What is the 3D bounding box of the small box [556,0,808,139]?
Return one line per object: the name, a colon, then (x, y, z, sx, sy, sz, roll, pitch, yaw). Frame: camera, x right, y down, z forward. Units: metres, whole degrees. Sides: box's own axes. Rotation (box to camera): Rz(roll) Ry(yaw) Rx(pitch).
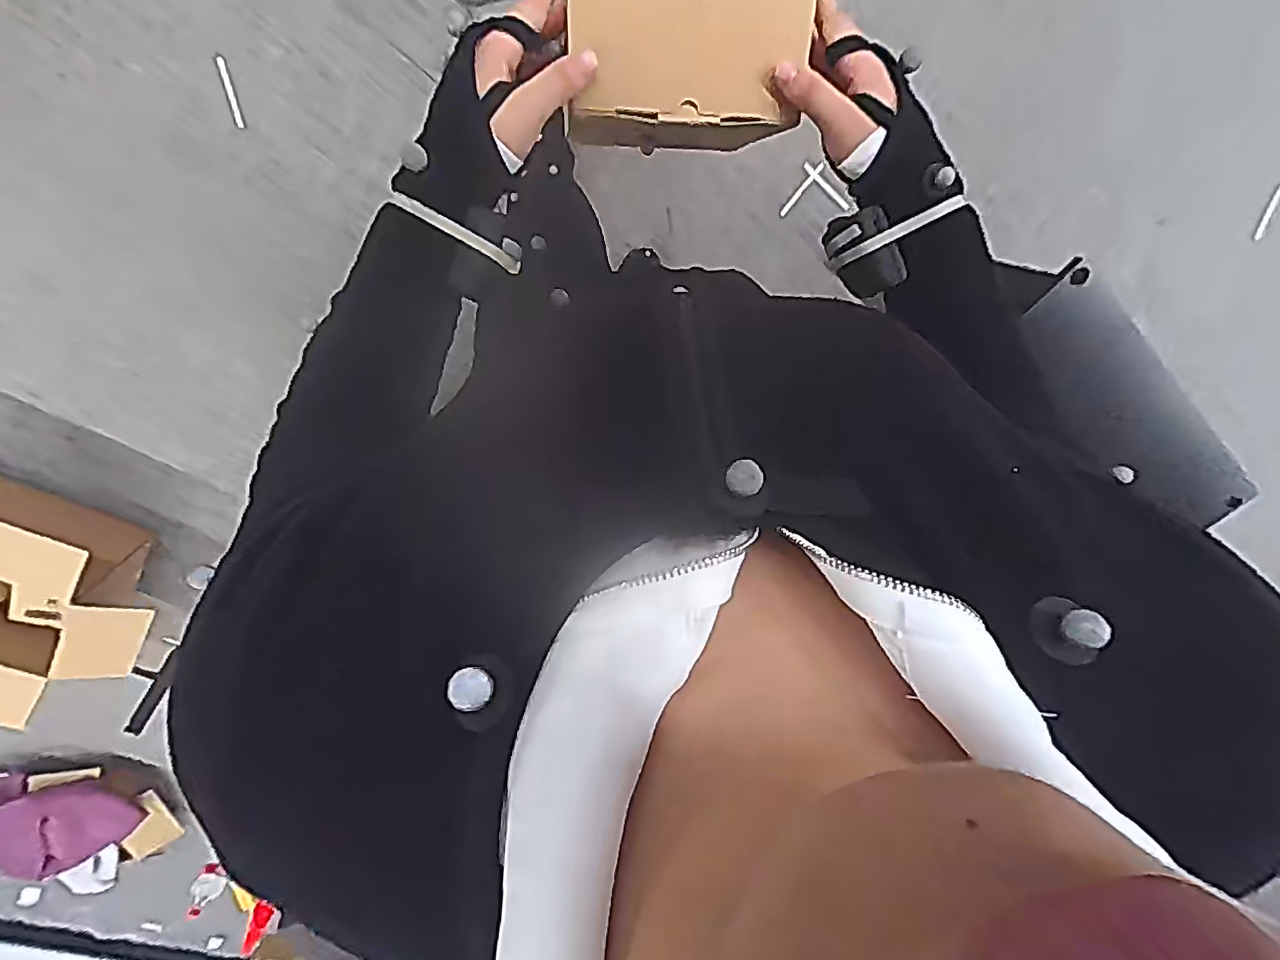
small box: (0.021, -0.373, 0.406, 0.168, 0.176, 0.179, -2, 117, -7)
